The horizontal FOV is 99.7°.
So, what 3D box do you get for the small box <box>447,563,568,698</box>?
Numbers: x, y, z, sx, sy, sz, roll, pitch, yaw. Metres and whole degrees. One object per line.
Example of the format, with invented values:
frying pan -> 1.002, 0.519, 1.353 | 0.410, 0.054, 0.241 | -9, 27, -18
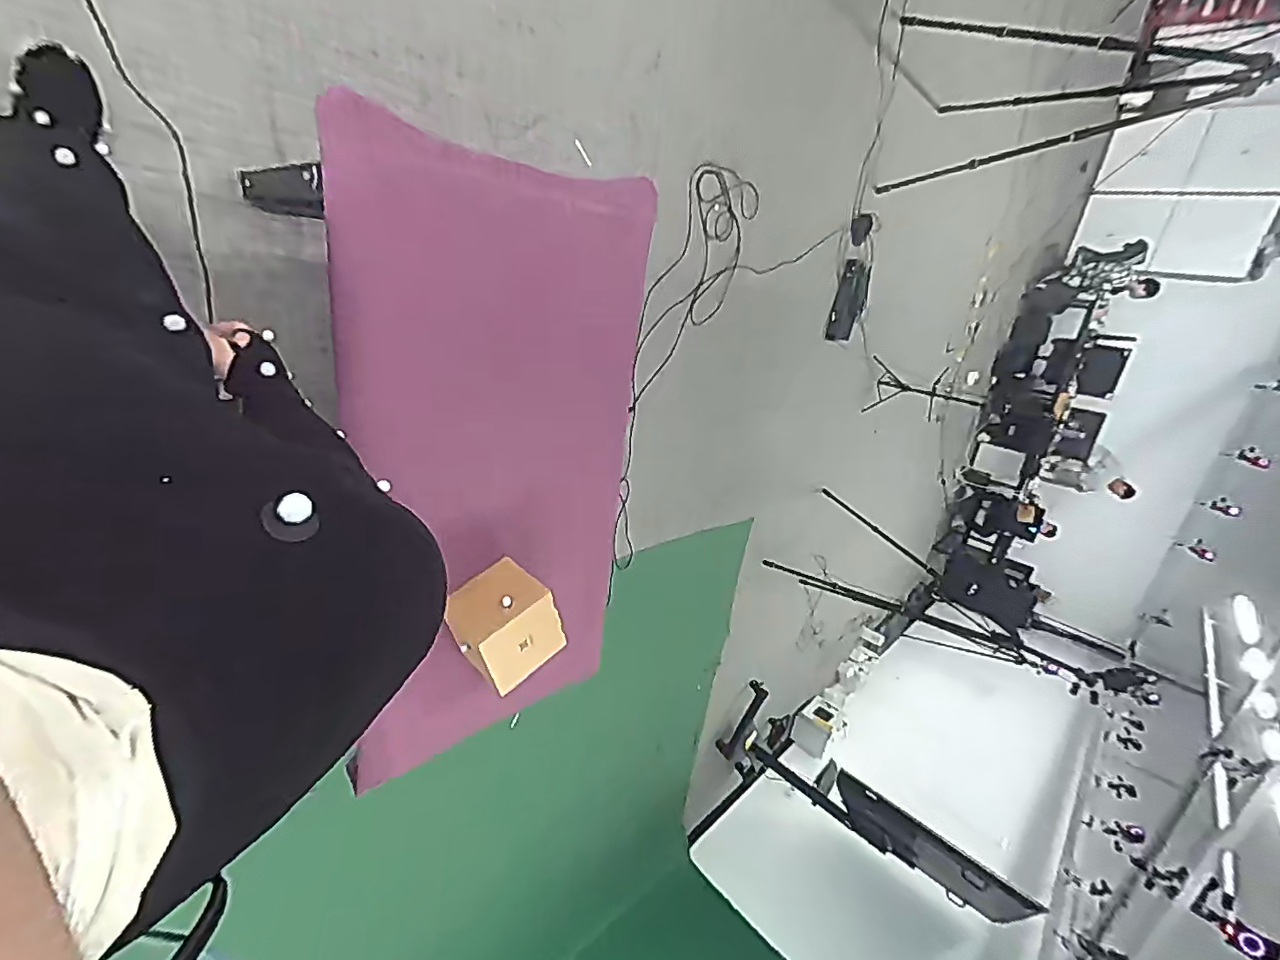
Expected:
small box -> -0.285, 0.310, 1.144 | 0.179, 0.176, 0.168 | -35, 132, -32
